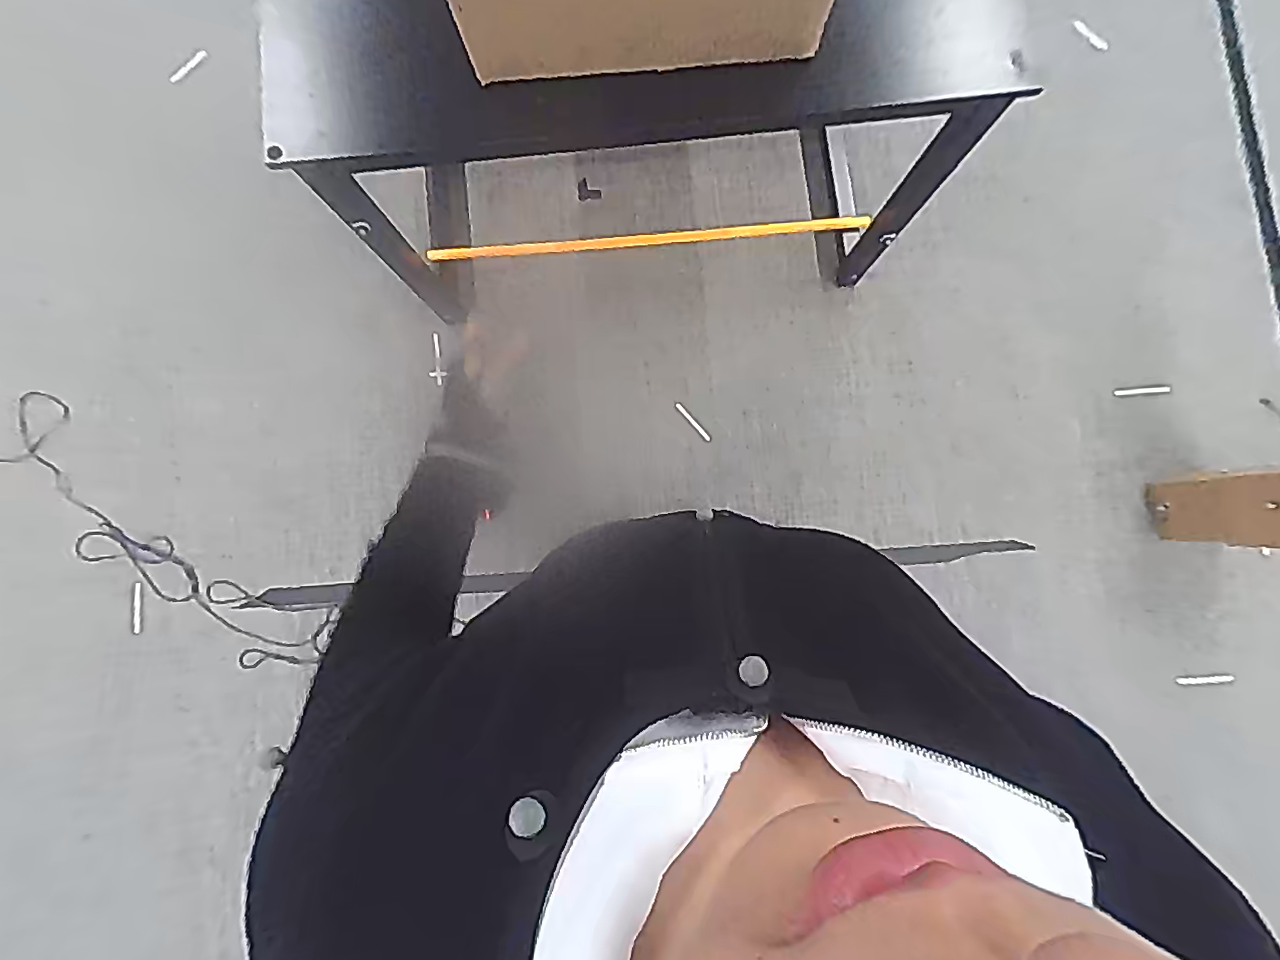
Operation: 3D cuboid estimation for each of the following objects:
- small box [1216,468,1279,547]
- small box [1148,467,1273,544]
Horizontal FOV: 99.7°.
[{"bbox_3d":[1.505,0.059,1.249,0.168,0.176,0.179,-10,85,0],"label":"small box"},{"bbox_3d":[1.504,0.067,1.414,0.179,0.176,0.168,-12,84,1],"label":"small box"}]
